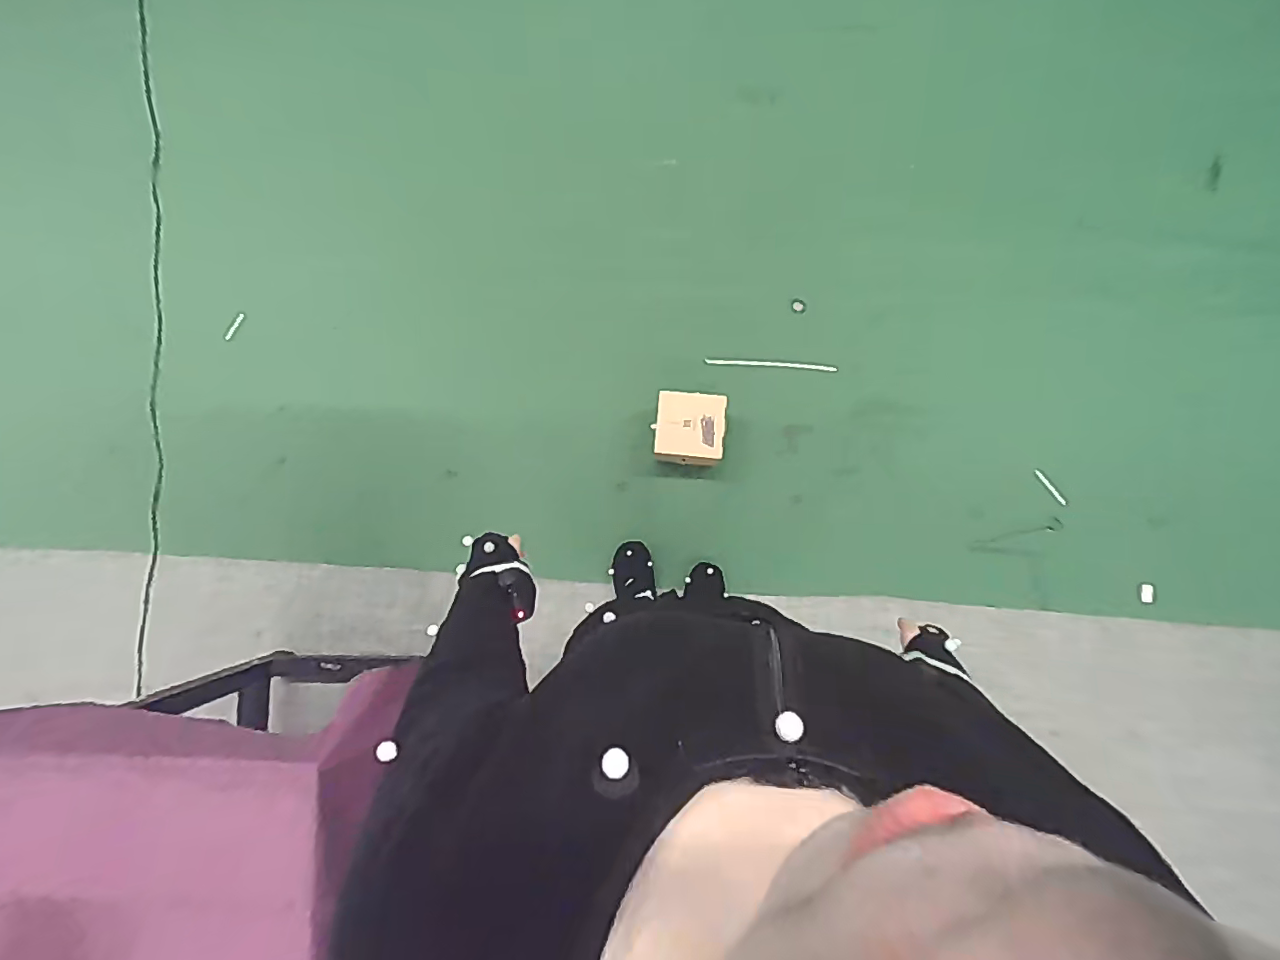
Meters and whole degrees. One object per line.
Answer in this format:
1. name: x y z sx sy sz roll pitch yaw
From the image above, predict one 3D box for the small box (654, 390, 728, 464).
1. small box: 0.134 -0.137 1.455 0.179 0.176 0.168 5 85 4
